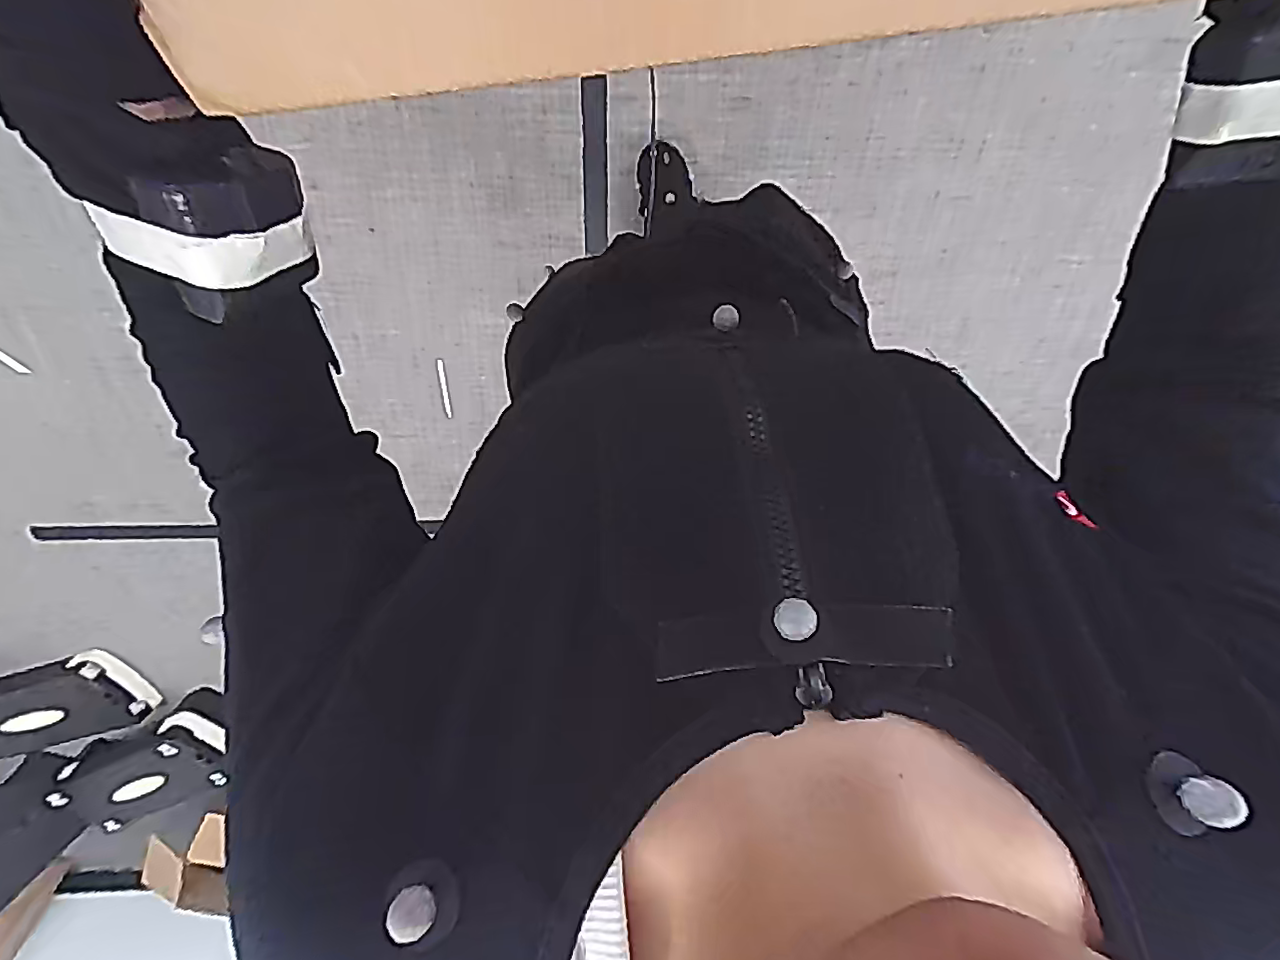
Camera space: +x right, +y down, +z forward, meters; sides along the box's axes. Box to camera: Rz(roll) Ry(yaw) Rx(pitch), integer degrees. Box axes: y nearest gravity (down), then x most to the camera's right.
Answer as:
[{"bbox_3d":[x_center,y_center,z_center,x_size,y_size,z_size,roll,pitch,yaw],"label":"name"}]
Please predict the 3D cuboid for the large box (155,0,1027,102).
[{"bbox_3d":[0.005,-0.382,0.180,0.408,0.320,0.320,-6,141,1],"label":"large box"}]
